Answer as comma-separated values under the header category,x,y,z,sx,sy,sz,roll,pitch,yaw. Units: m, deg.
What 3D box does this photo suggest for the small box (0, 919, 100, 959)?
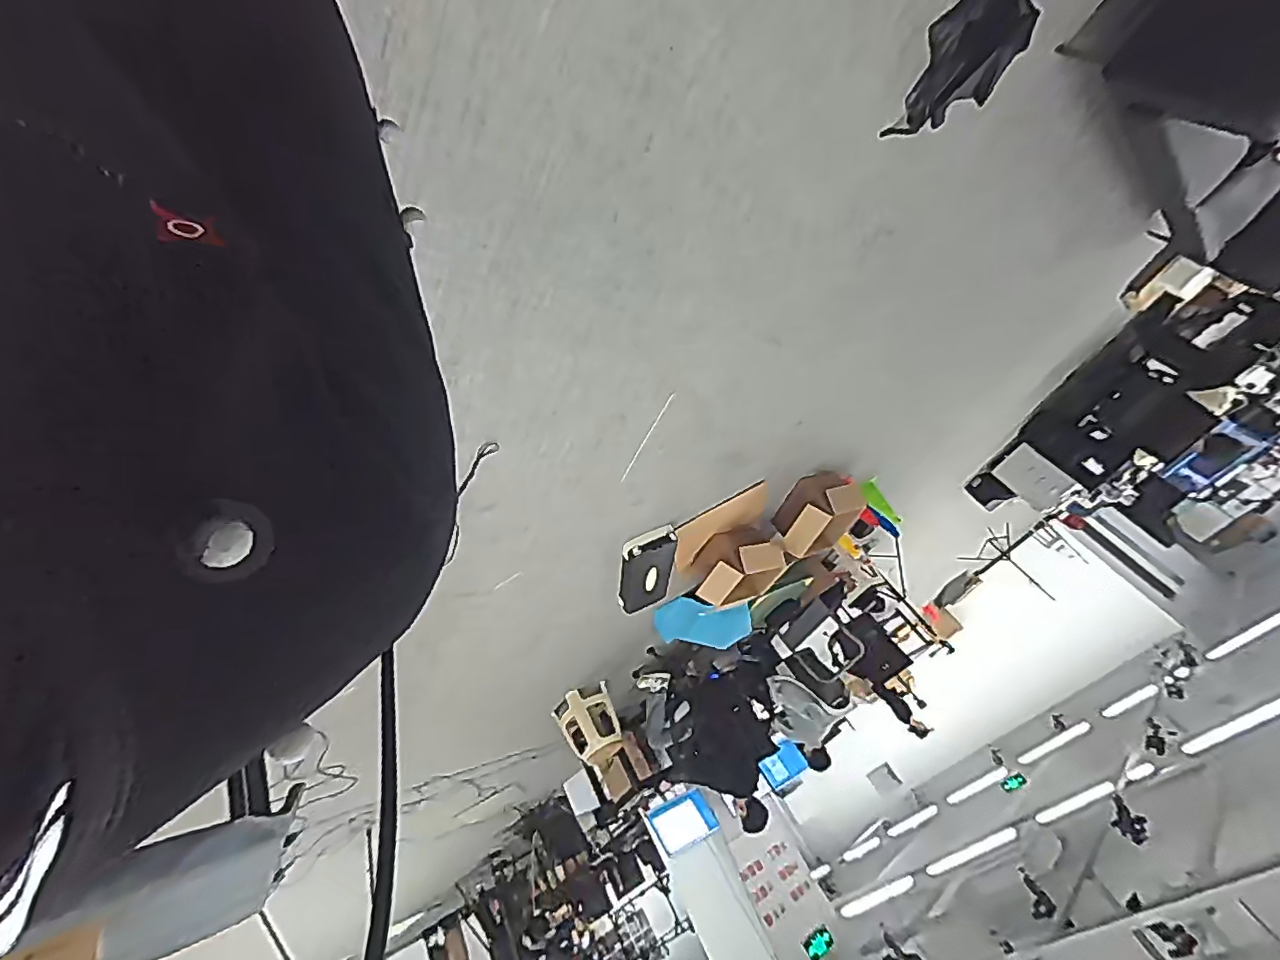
category,x,y,z,sx,sy,sz,roll,pitch,yaw
small box,-1.295,1.100,1.170,0.168,0.176,0.179,2,134,-42
